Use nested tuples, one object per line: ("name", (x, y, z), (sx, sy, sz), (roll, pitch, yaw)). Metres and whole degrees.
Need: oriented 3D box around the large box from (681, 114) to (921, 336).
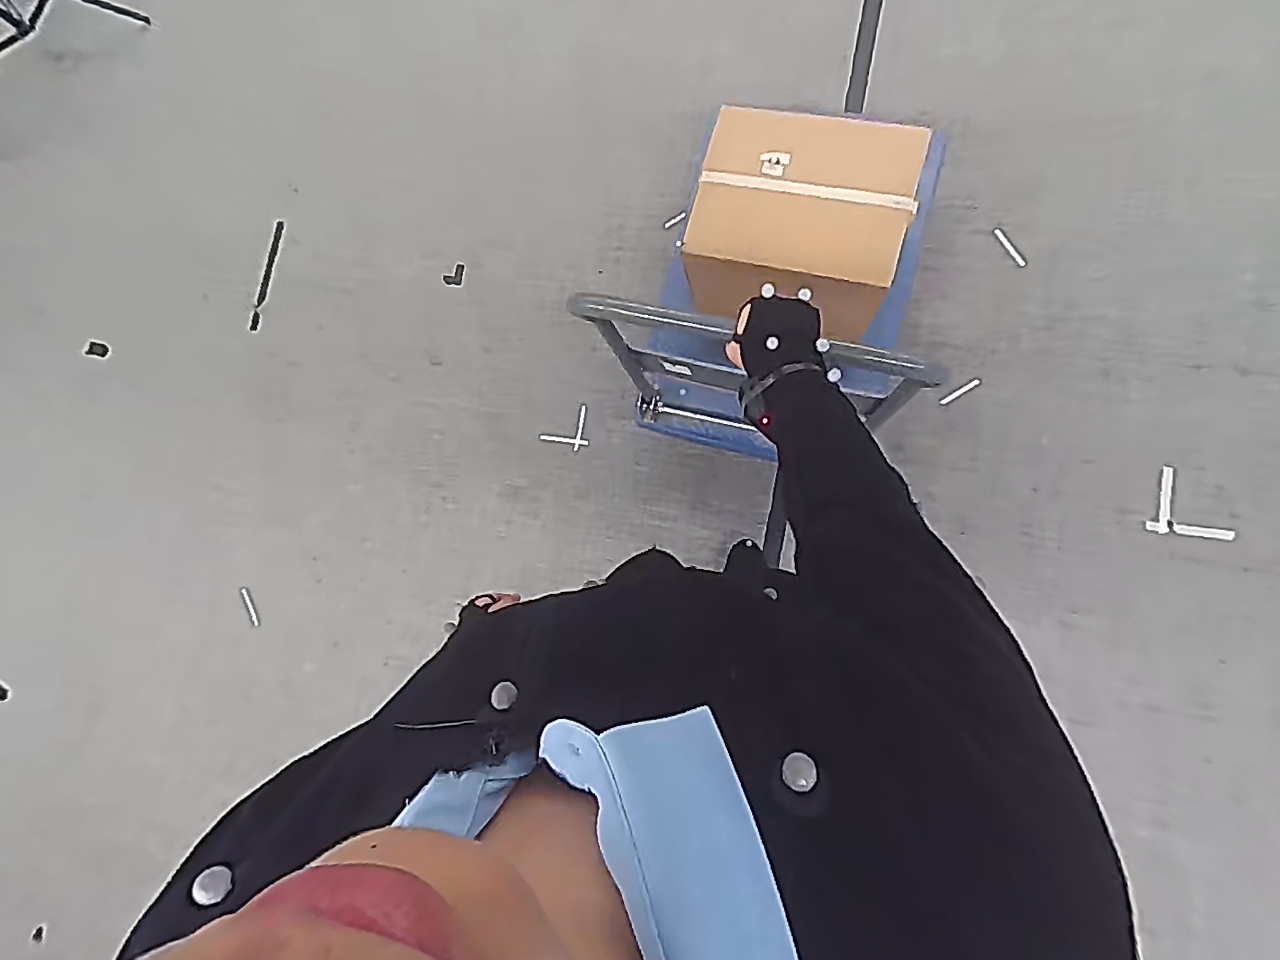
("large box", (0.341, -0.544, 1.198), (0.408, 0.320, 0.320), (15, 87, 14))
